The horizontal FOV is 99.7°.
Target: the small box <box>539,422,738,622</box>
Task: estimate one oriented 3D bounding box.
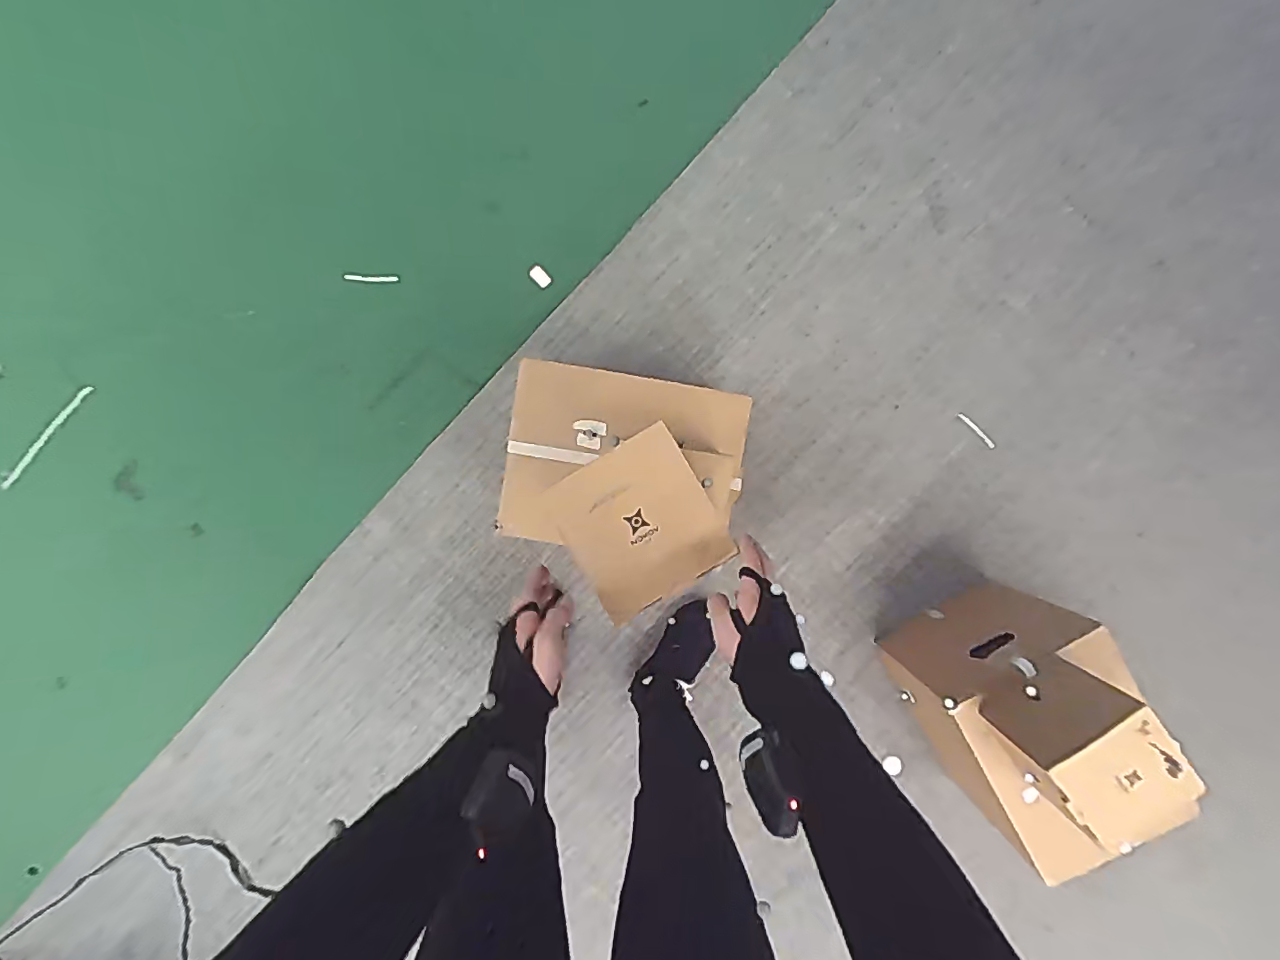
[{"bbox_3d":[0.000,0.041,0.678,0.168,0.176,0.179,-30,93,2],"label":"small box"}]

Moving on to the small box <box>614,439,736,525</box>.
[{"bbox_3d":[0.037,0.028,0.840,0.179,0.176,0.168,9,94,0],"label":"small box"}]

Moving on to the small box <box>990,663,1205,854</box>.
[{"bbox_3d":[0.708,0.432,0.866,0.179,0.176,0.168,-37,94,4],"label":"small box"}]

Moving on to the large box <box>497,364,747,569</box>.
[{"bbox_3d":[-0.028,-0.030,1.083,0.408,0.320,0.320,9,92,0],"label":"large box"}]
